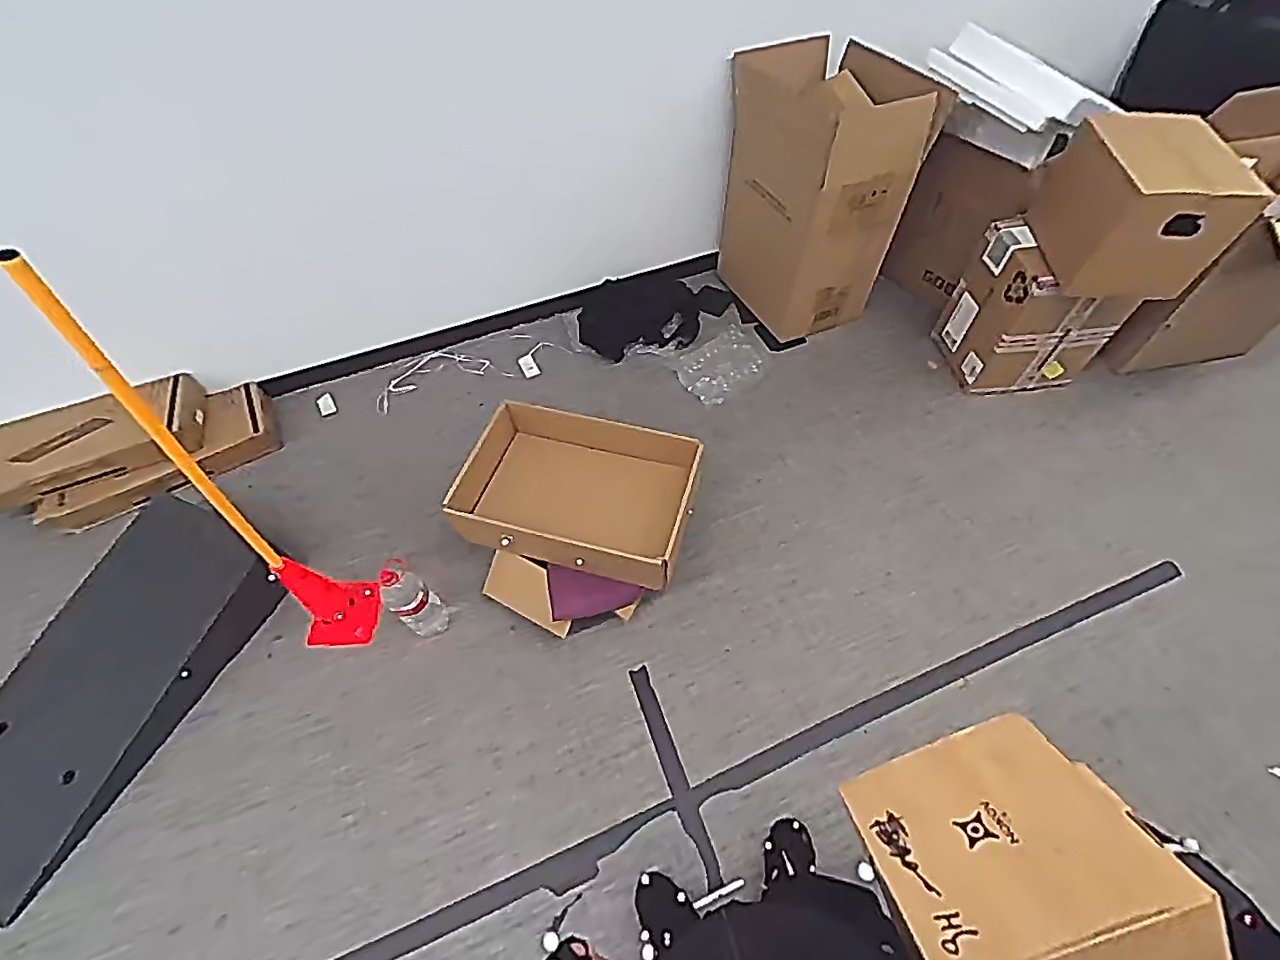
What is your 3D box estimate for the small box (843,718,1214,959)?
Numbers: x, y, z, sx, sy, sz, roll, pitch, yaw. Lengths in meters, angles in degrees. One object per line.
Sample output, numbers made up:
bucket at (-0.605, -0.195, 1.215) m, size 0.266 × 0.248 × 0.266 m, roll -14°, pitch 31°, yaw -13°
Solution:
small box at (0.299, 0.339, 0.435) m, size 0.179 × 0.176 × 0.168 m, roll -24°, pitch 14°, yaw 4°
